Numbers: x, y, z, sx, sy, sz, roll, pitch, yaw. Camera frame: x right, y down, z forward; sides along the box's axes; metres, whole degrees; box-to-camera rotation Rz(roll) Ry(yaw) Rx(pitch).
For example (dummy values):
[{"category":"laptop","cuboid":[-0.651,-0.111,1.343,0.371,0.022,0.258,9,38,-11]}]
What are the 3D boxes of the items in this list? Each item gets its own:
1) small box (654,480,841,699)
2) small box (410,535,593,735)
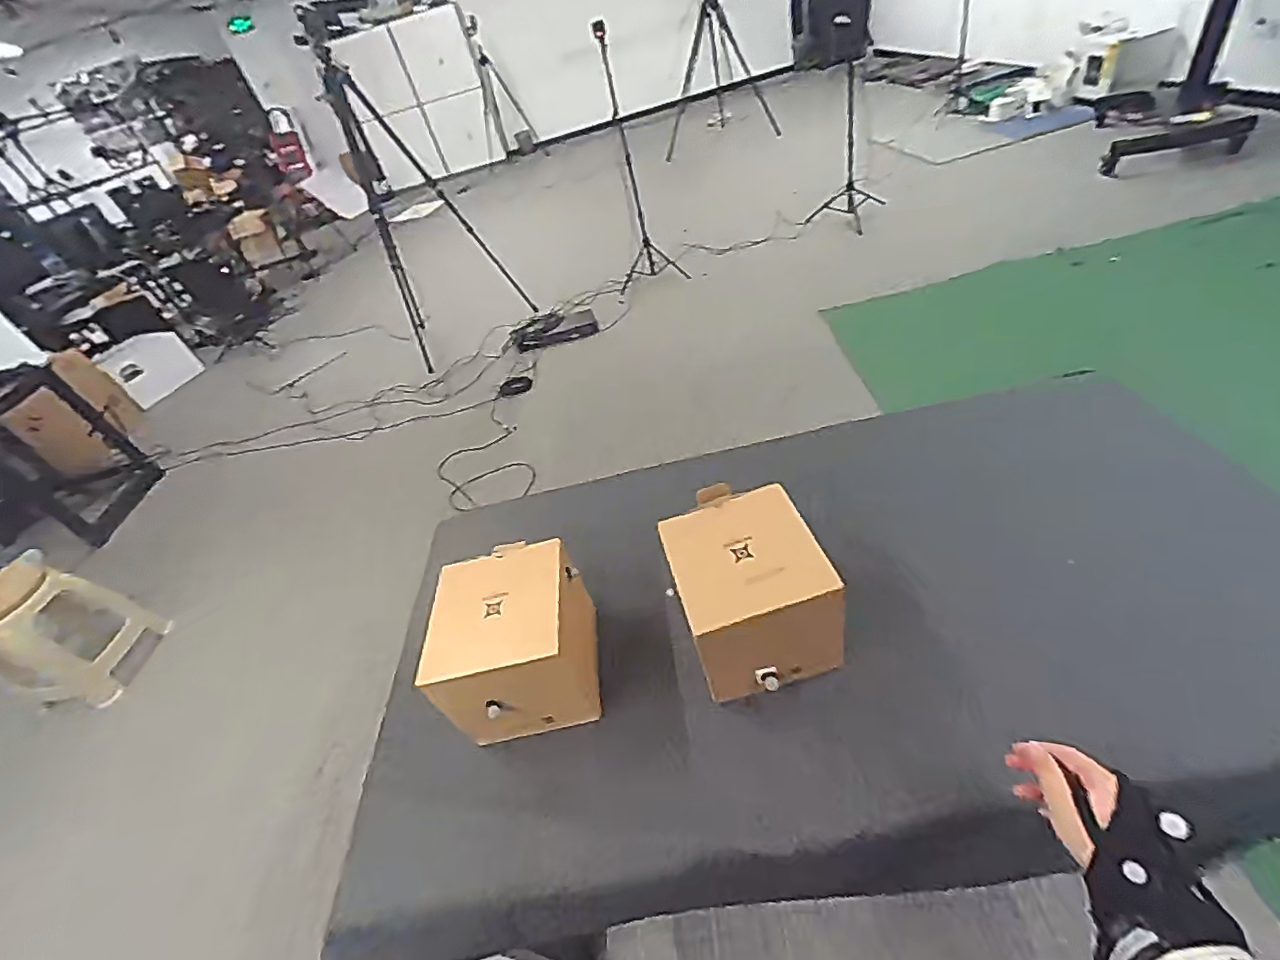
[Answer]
[{"category":"small box","cuboid":[0.129,0.135,0.668,0.168,0.176,0.179,-19,41,0]},{"category":"small box","cuboid":[-0.161,0.204,0.692,0.168,0.176,0.179,-14,40,4]}]
